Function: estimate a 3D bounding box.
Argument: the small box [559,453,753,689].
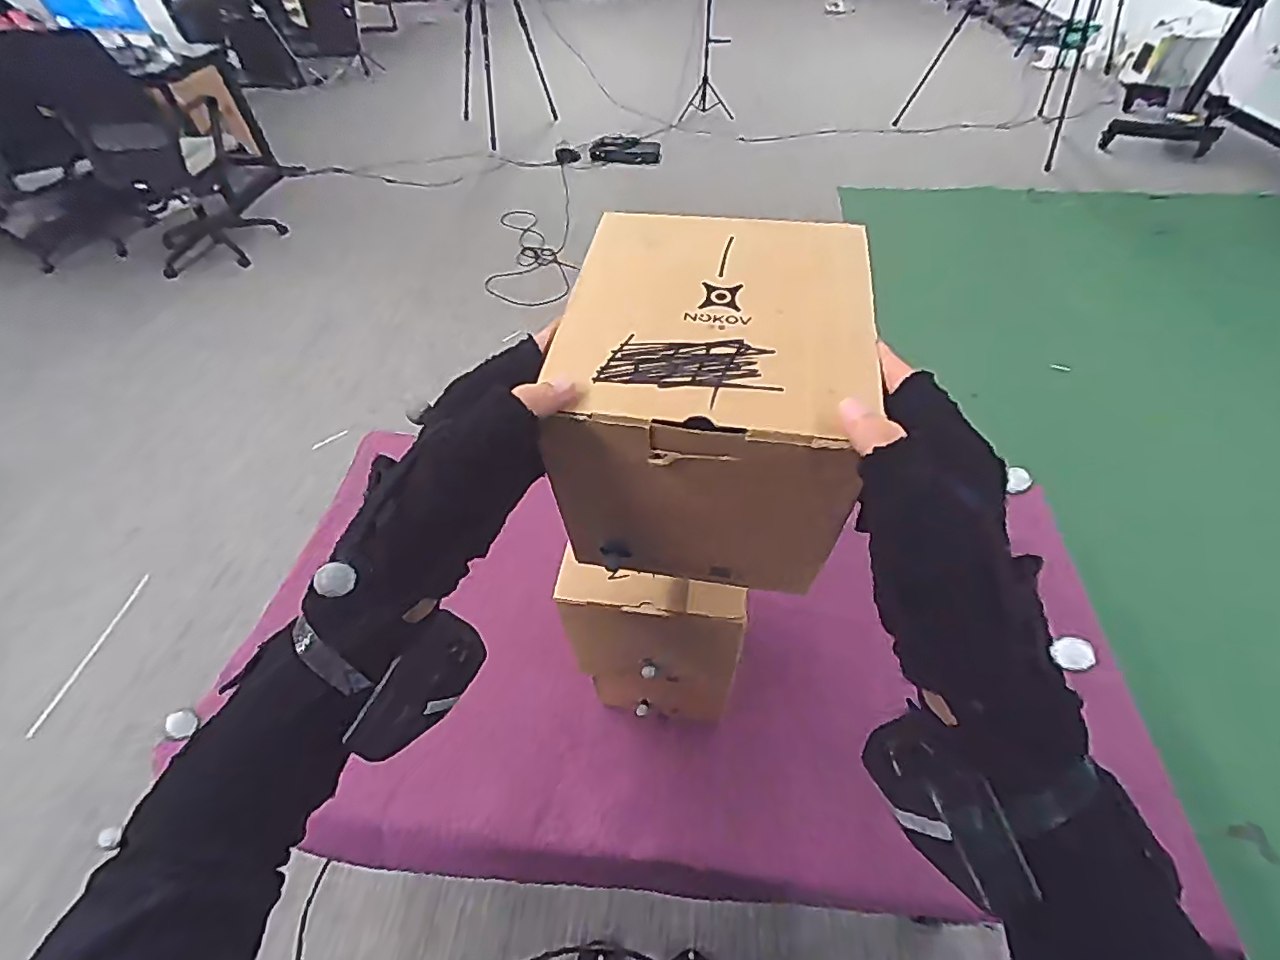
[{"bbox_3d":[0.025,0.096,0.573,0.168,0.176,0.179,5,50,8],"label":"small box"}]

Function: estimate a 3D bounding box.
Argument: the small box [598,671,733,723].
[{"bbox_3d":[0.038,0.191,0.707,0.168,0.176,0.179,6,51,9],"label":"small box"}]
